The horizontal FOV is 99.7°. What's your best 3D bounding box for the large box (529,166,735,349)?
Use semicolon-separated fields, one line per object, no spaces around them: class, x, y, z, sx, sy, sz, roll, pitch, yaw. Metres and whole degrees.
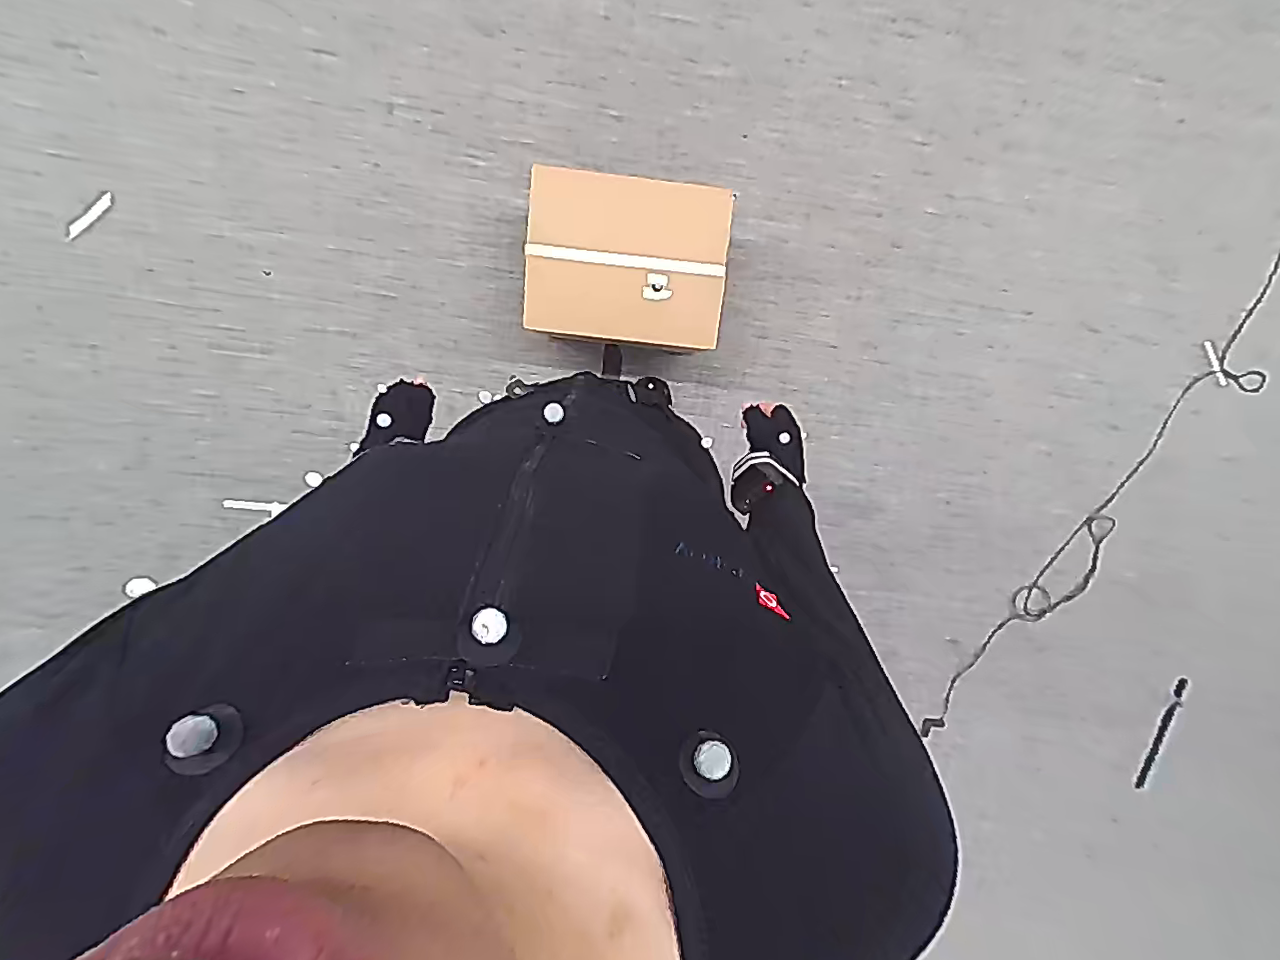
large box;-0.028;-0.477;1.235;0.408;0.320;0.320;5;102;-3
